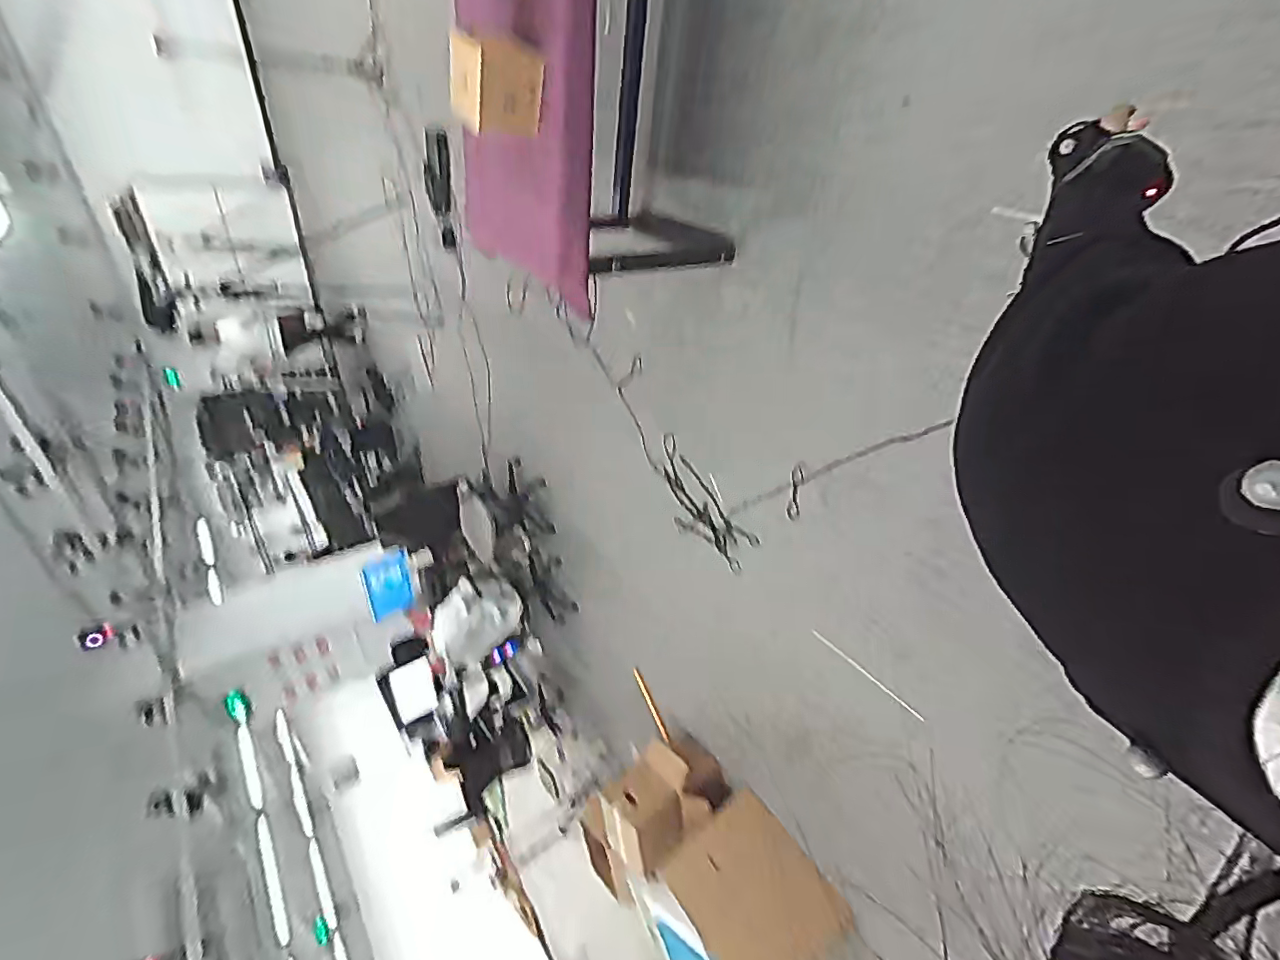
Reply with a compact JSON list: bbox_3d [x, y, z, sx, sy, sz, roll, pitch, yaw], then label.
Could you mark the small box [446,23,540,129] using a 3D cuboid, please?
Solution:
[{"bbox_3d":[-0.361,-0.988,1.330,0.179,0.176,0.168,51,143,28],"label":"small box"}]
